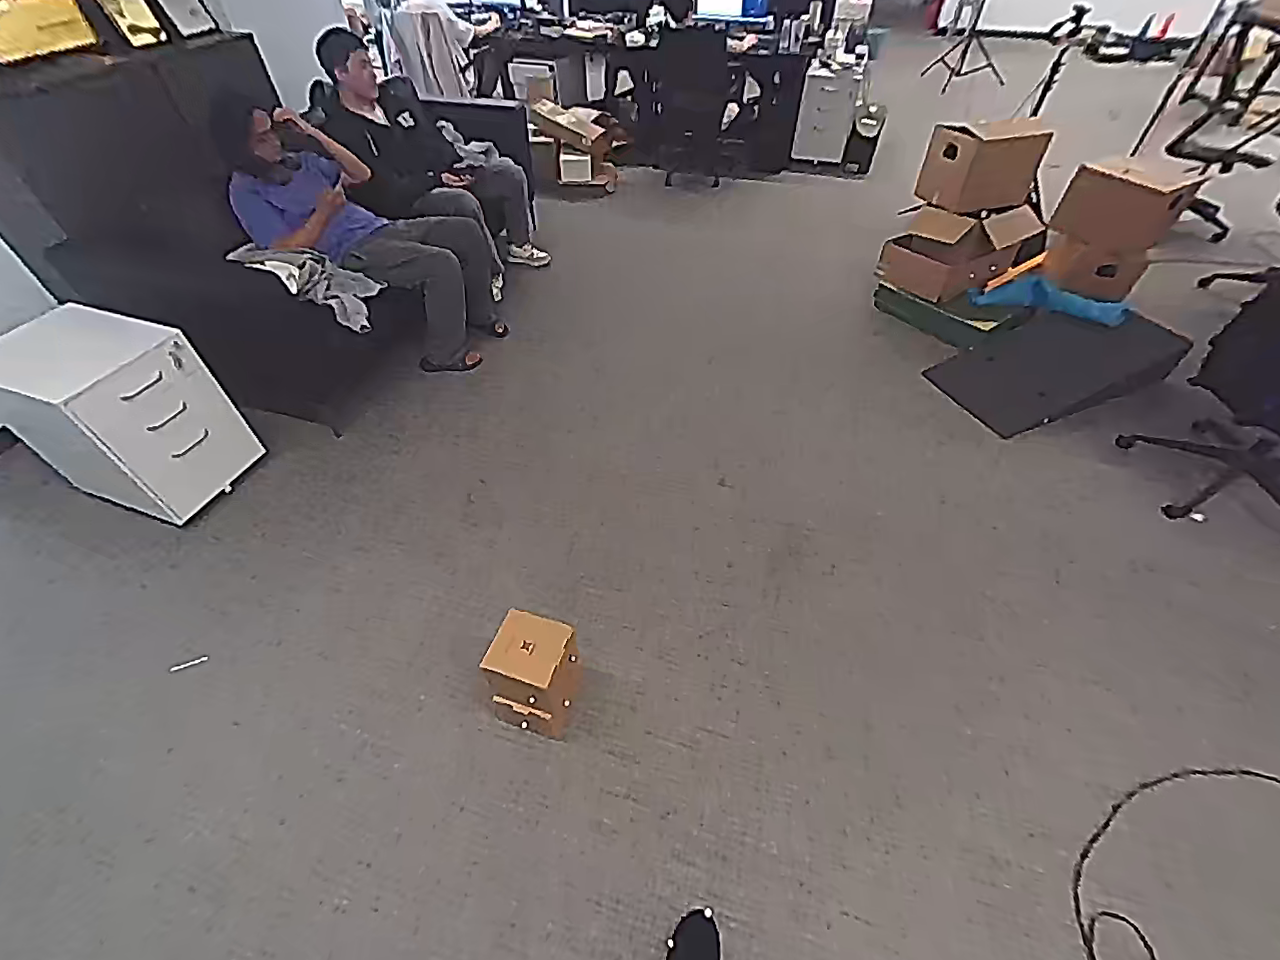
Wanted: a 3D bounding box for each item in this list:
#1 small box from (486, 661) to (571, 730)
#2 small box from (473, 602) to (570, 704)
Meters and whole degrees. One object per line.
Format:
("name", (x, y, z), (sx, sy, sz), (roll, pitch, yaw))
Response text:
("small box", (-0.296, 0.563, 1.489), (0.168, 0.176, 0.179), (12, 49, 11))
("small box", (-0.287, 0.439, 1.356), (0.179, 0.176, 0.168), (13, 48, 12))
